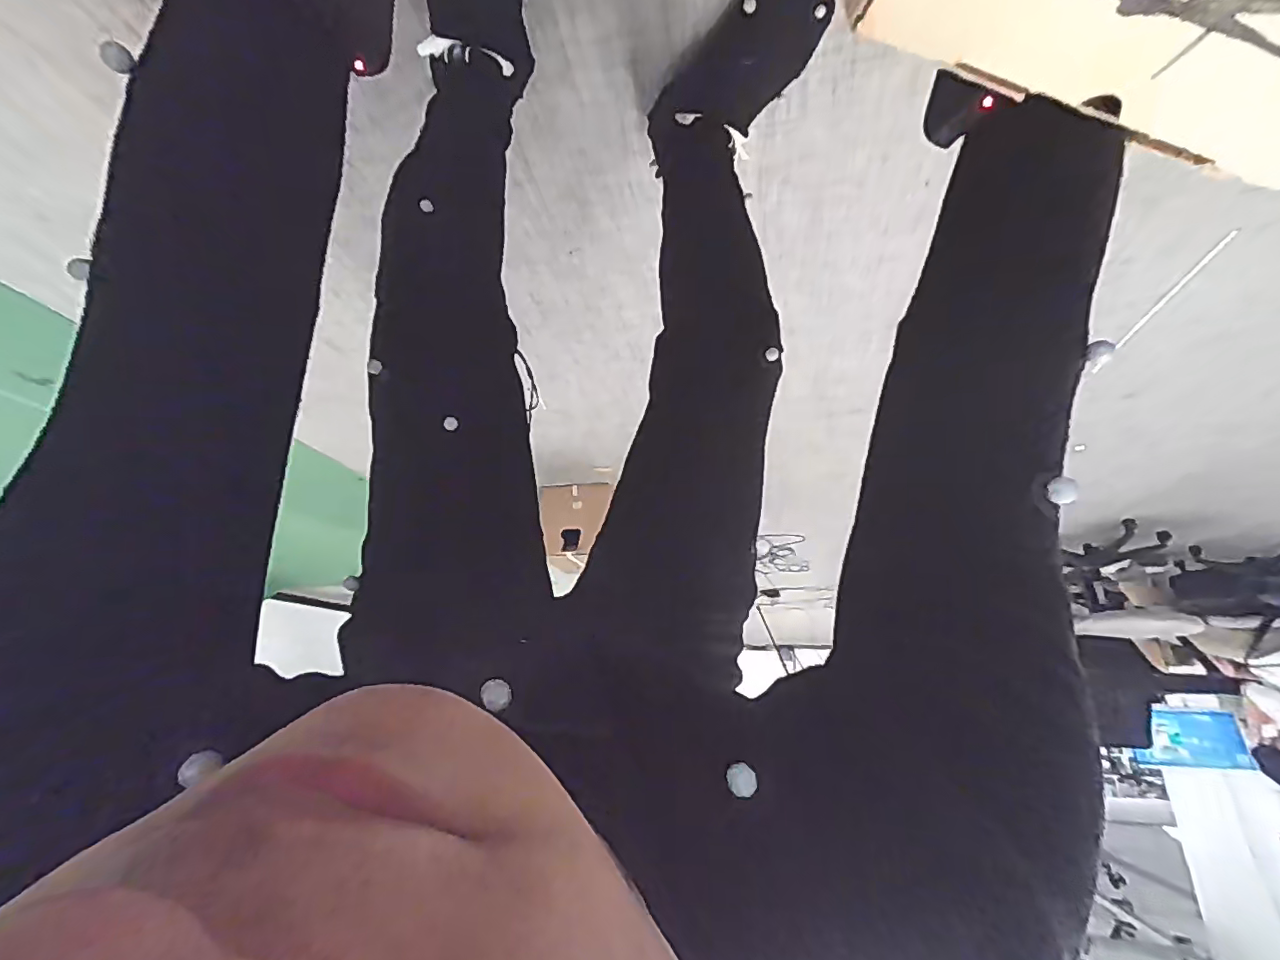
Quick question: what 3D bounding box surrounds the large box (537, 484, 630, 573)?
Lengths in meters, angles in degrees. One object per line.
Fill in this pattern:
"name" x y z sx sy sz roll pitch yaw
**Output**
"large box" -0.242 0.232 2.462 0.320 0.320 0.408 -2 160 12
